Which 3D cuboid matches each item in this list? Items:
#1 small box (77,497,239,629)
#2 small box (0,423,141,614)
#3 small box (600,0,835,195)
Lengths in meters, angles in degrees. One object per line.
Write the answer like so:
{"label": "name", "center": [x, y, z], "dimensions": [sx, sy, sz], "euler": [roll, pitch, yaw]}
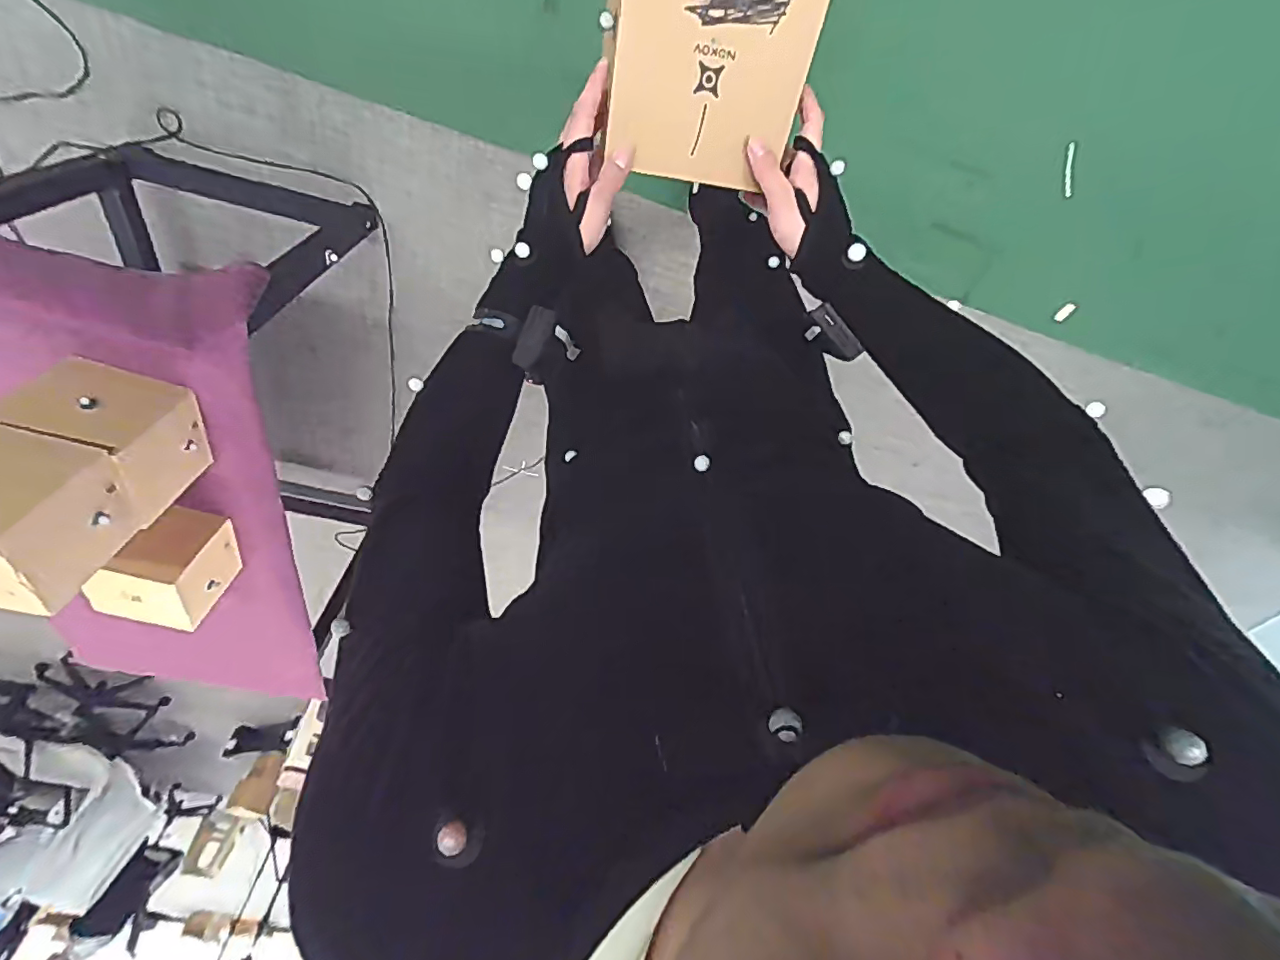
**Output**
{"label": "small box", "center": [-0.914, 0.158, 1.043], "dimensions": [0.179, 0.176, 0.168], "euler": [17, 131, -9]}
{"label": "small box", "center": [-0.826, 0.044, 0.706], "dimensions": [0.179, 0.176, 0.168], "euler": [15, 133, -9]}
{"label": "small box", "center": [0.055, -0.398, 0.509], "dimensions": [0.168, 0.176, 0.179], "euler": [4, 133, -11]}
